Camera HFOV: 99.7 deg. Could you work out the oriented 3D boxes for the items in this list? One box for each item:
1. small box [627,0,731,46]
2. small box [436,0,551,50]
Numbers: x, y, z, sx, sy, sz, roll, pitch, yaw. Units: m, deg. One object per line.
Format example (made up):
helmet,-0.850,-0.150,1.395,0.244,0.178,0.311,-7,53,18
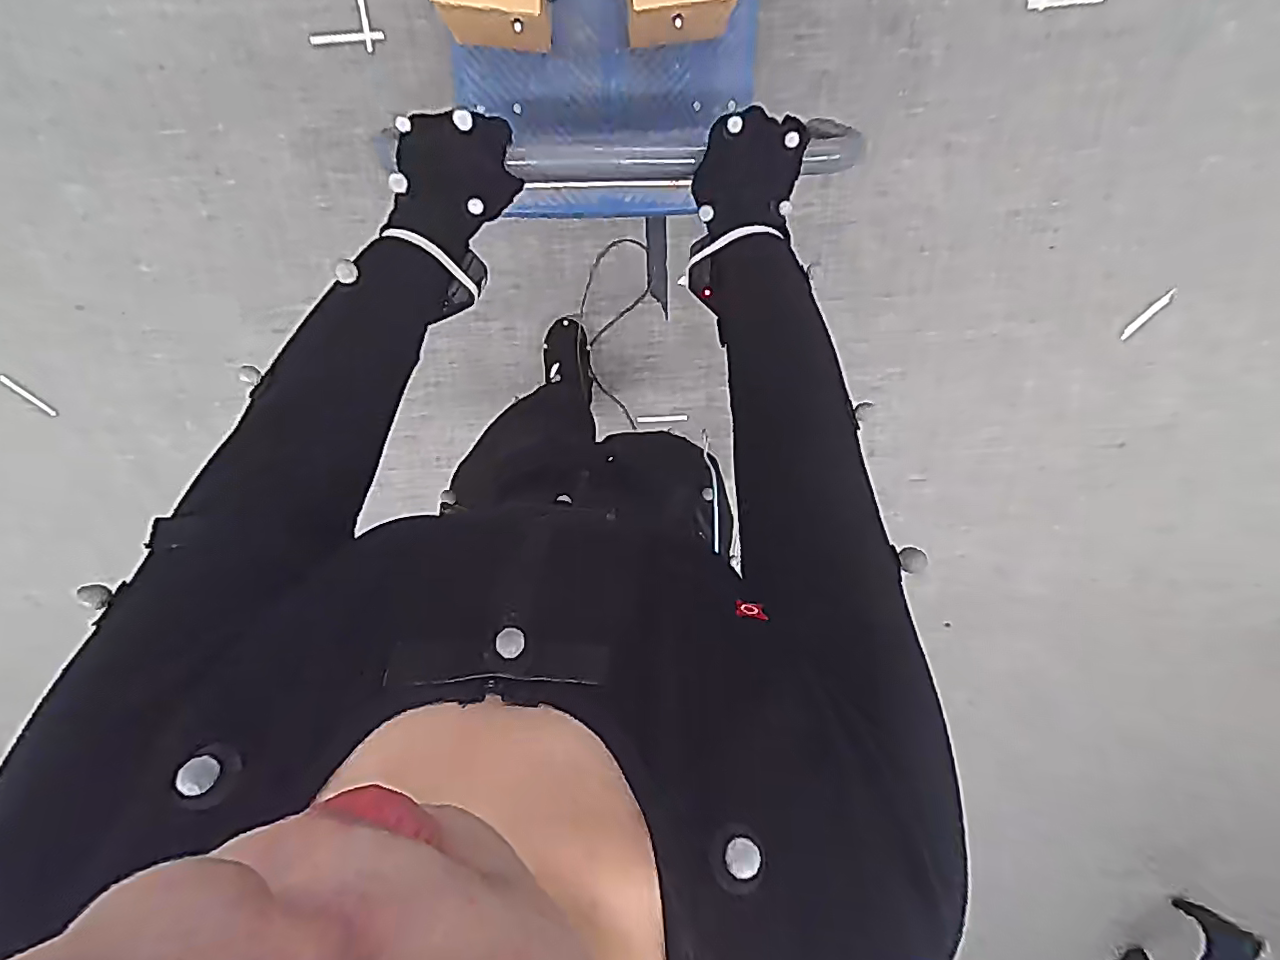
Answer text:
small box,0.061,-0.876,0.921,0.179,0.176,0.168,-7,112,0
small box,-0.245,-0.860,0.911,0.179,0.176,0.168,2,111,-6
